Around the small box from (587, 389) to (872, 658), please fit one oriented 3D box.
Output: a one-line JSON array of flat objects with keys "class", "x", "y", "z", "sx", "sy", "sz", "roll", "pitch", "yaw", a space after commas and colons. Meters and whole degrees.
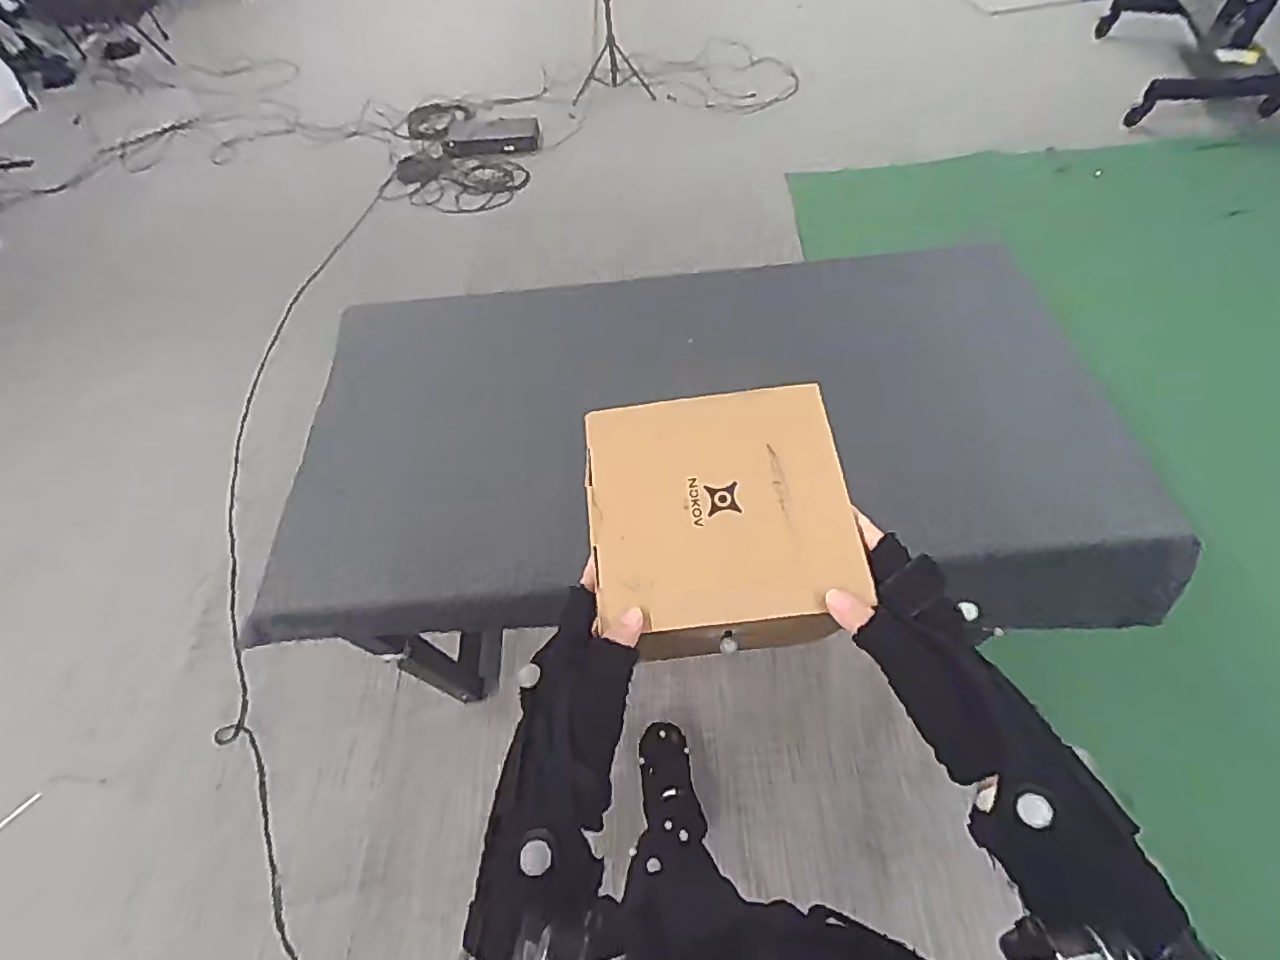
[{"class": "small box", "x": 0.059, "y": 0.048, "z": 0.448, "sx": 0.179, "sy": 0.176, "sz": 0.168, "roll": -7, "pitch": 67, "yaw": 0}]
